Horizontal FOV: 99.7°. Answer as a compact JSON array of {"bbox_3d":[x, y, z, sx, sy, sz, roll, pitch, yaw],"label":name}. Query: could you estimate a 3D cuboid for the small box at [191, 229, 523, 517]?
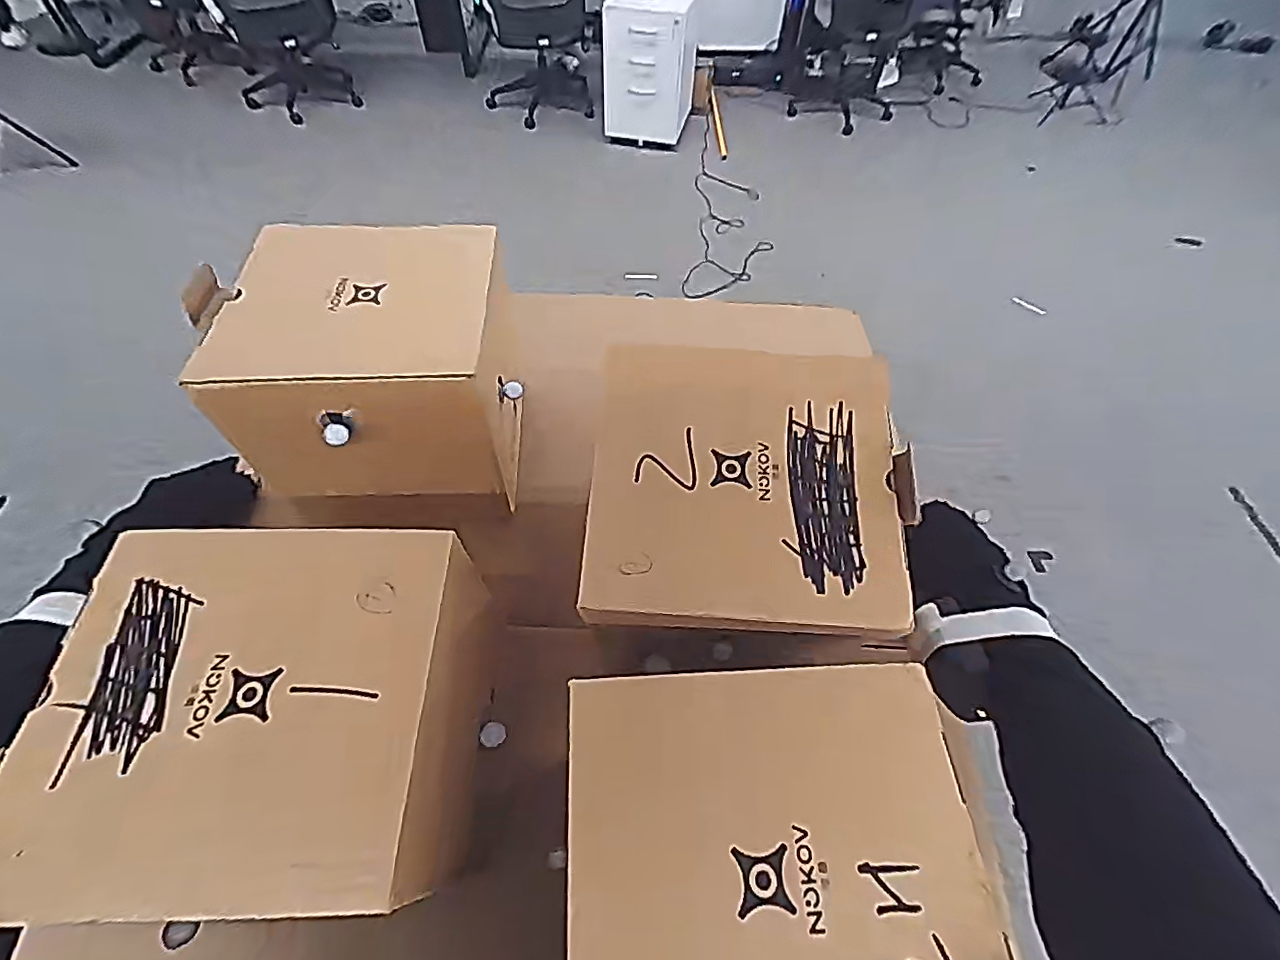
[{"bbox_3d":[-0.197,-0.082,0.446,0.179,0.176,0.168,-3,55,-3],"label":"small box"}]
